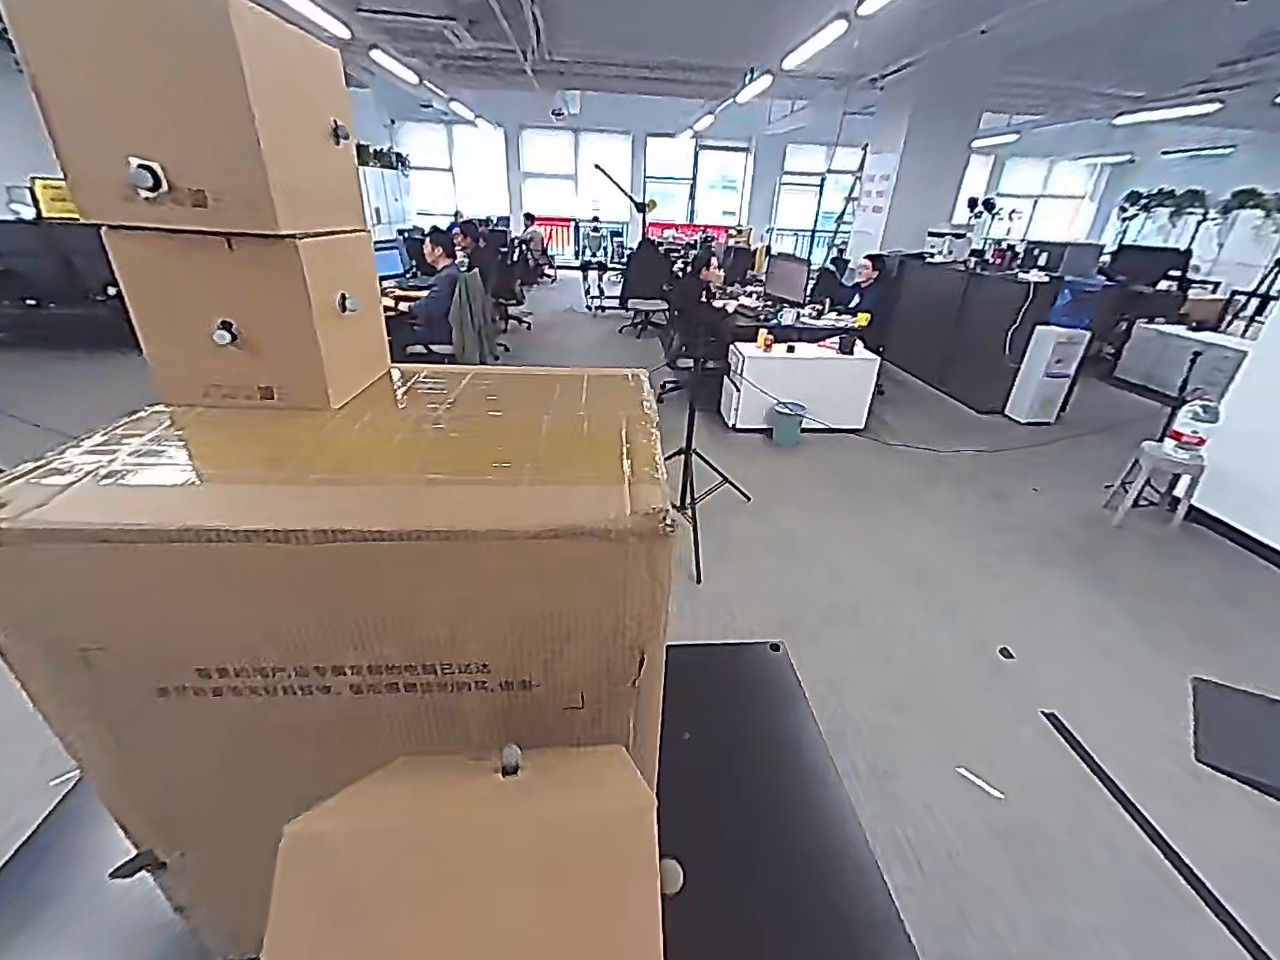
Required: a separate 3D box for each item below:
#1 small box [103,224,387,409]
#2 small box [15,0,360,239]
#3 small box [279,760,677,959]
[{"bbox_3d":[-0.390,-0.181,0.579,0.168,0.176,0.179,1,27,-5],"label":"small box"},{"bbox_3d":[-0.378,-0.320,0.492,0.168,0.176,0.179,1,27,-3],"label":"small box"},{"bbox_3d":[-0.074,0.256,0.290,0.168,0.176,0.179,1,70,-7],"label":"small box"}]
